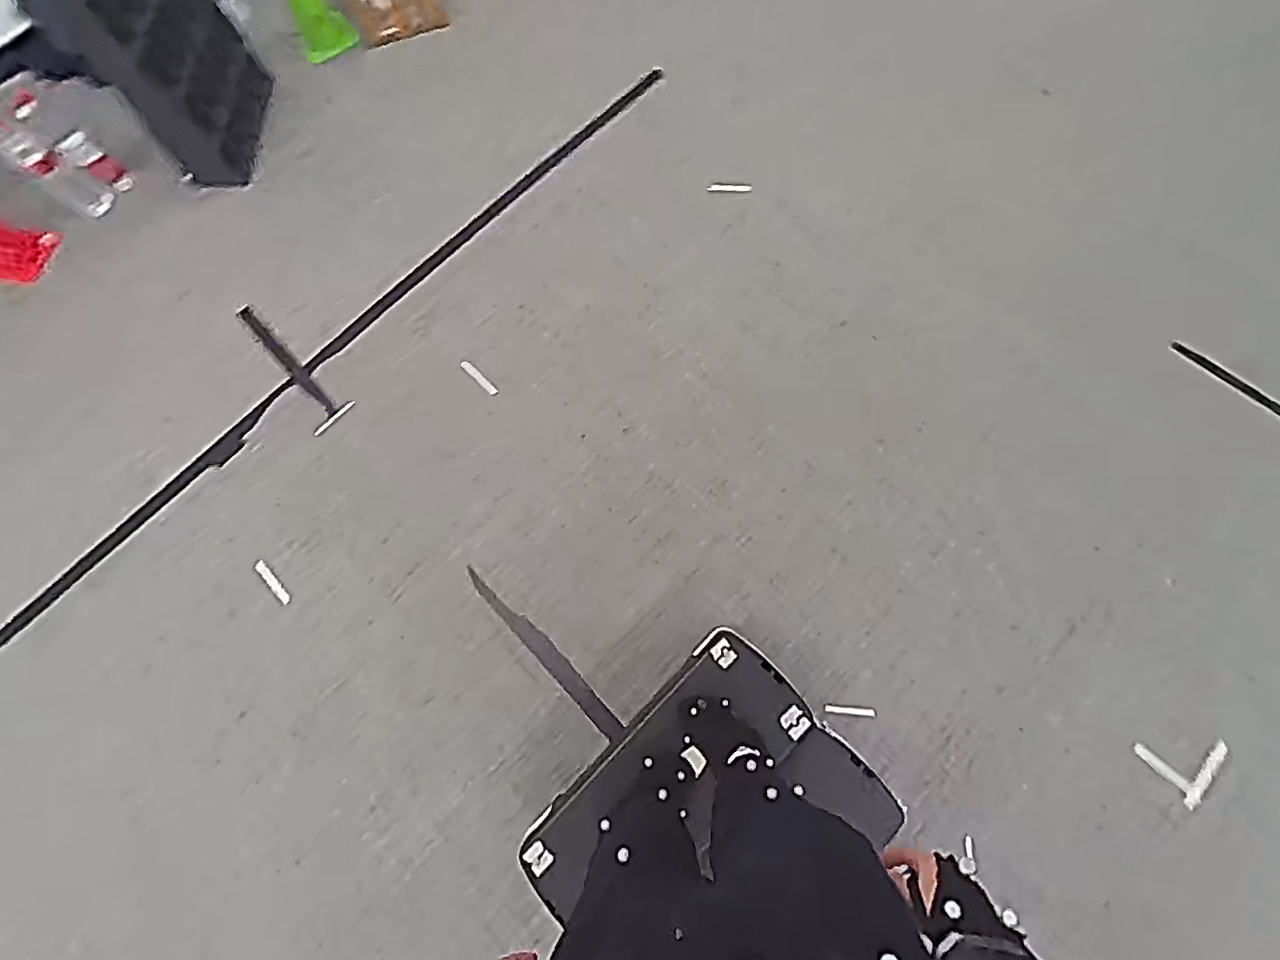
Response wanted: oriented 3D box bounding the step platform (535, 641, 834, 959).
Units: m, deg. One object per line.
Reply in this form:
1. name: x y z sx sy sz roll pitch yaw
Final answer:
1. step platform: 0.101 0.682 1.202 0.684 0.204 0.286 -41 75 -10
